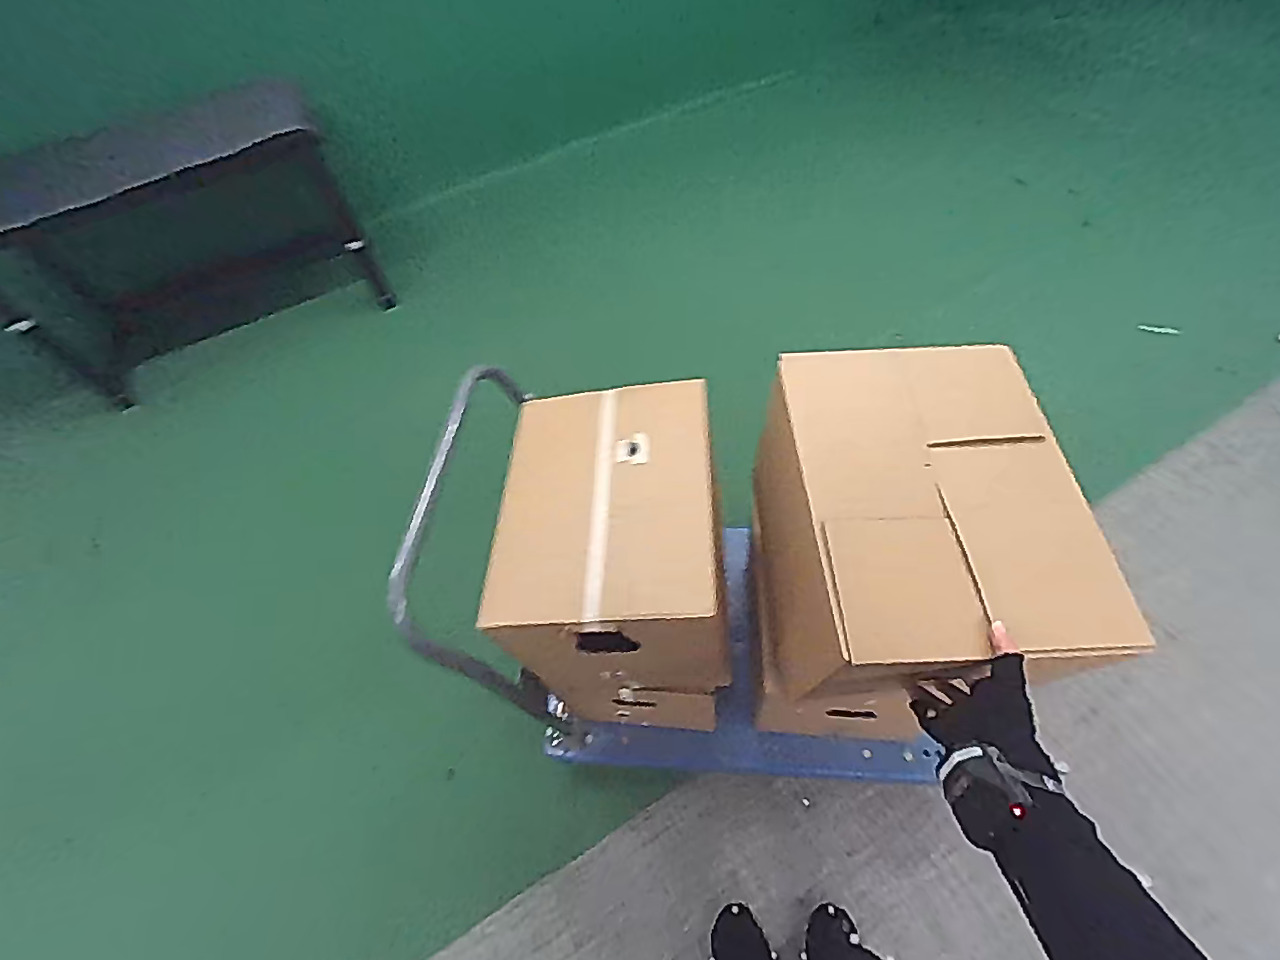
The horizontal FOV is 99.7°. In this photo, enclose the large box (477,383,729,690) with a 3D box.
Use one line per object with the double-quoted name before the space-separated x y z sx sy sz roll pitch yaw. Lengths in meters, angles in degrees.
"large box" -0.032 0.104 0.910 0.320 0.320 0.408 -6 53 10
